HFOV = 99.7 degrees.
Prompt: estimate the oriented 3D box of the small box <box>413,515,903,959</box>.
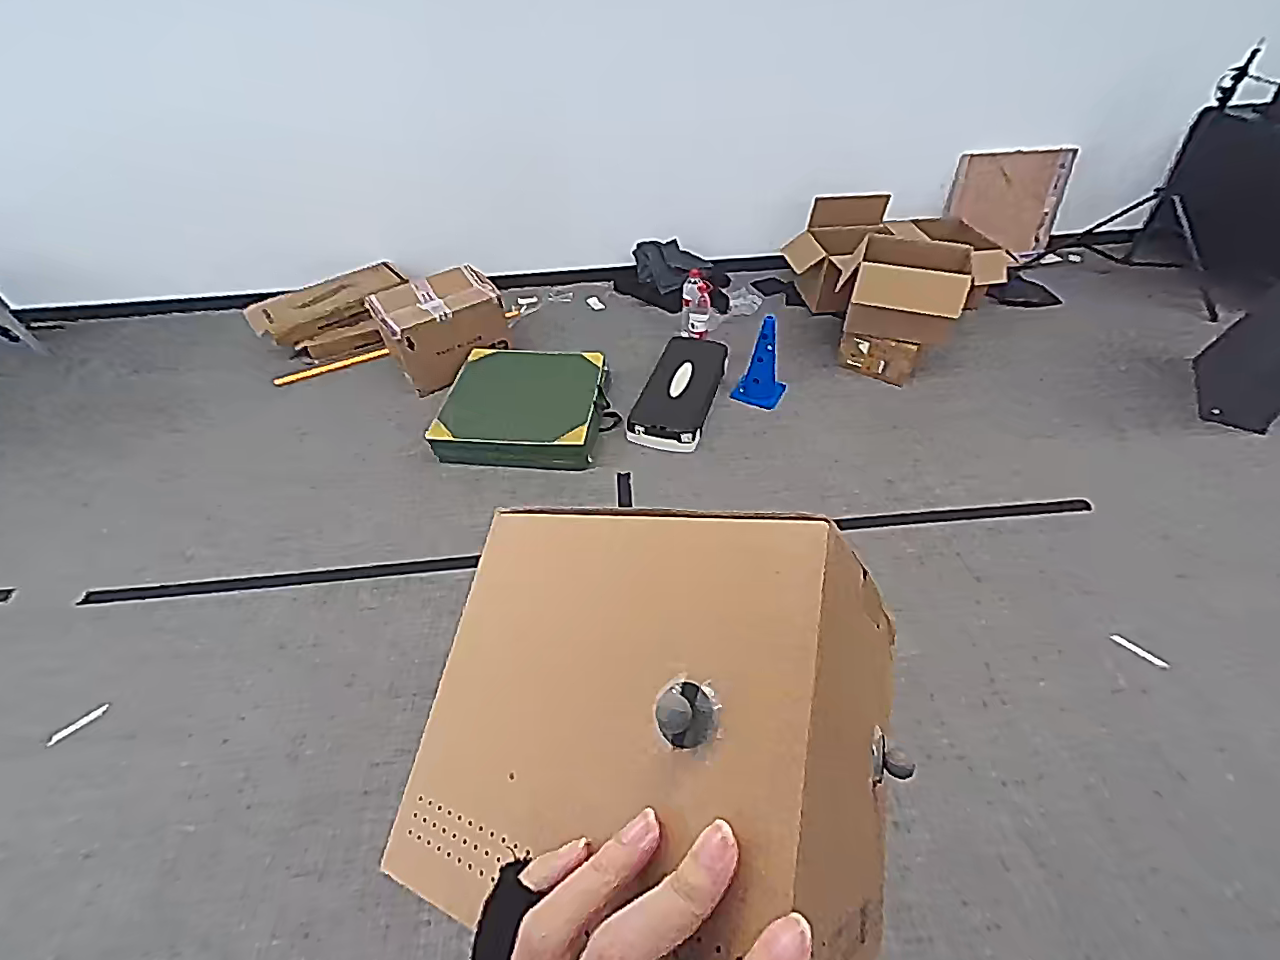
[{"bbox_3d":[0.024,0.127,0.276,0.179,0.168,0.176,-1,65,33],"label":"small box"}]
